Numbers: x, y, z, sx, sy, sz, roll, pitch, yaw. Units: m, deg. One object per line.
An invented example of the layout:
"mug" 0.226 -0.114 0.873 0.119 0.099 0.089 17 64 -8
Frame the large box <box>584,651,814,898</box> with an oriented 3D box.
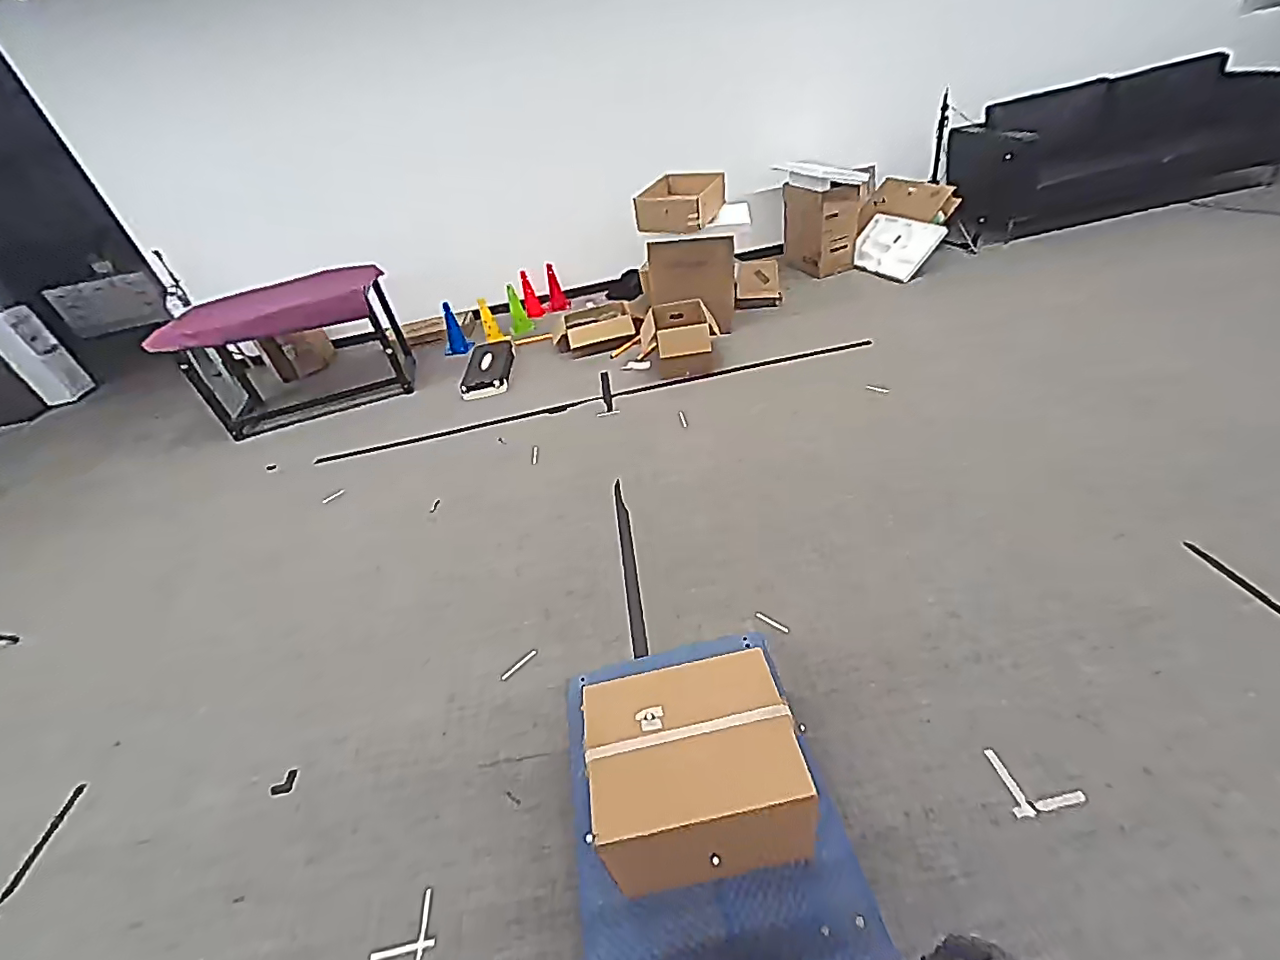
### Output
"large box" 0.121 0.628 1.163 0.408 0.320 0.320 -14 36 0
